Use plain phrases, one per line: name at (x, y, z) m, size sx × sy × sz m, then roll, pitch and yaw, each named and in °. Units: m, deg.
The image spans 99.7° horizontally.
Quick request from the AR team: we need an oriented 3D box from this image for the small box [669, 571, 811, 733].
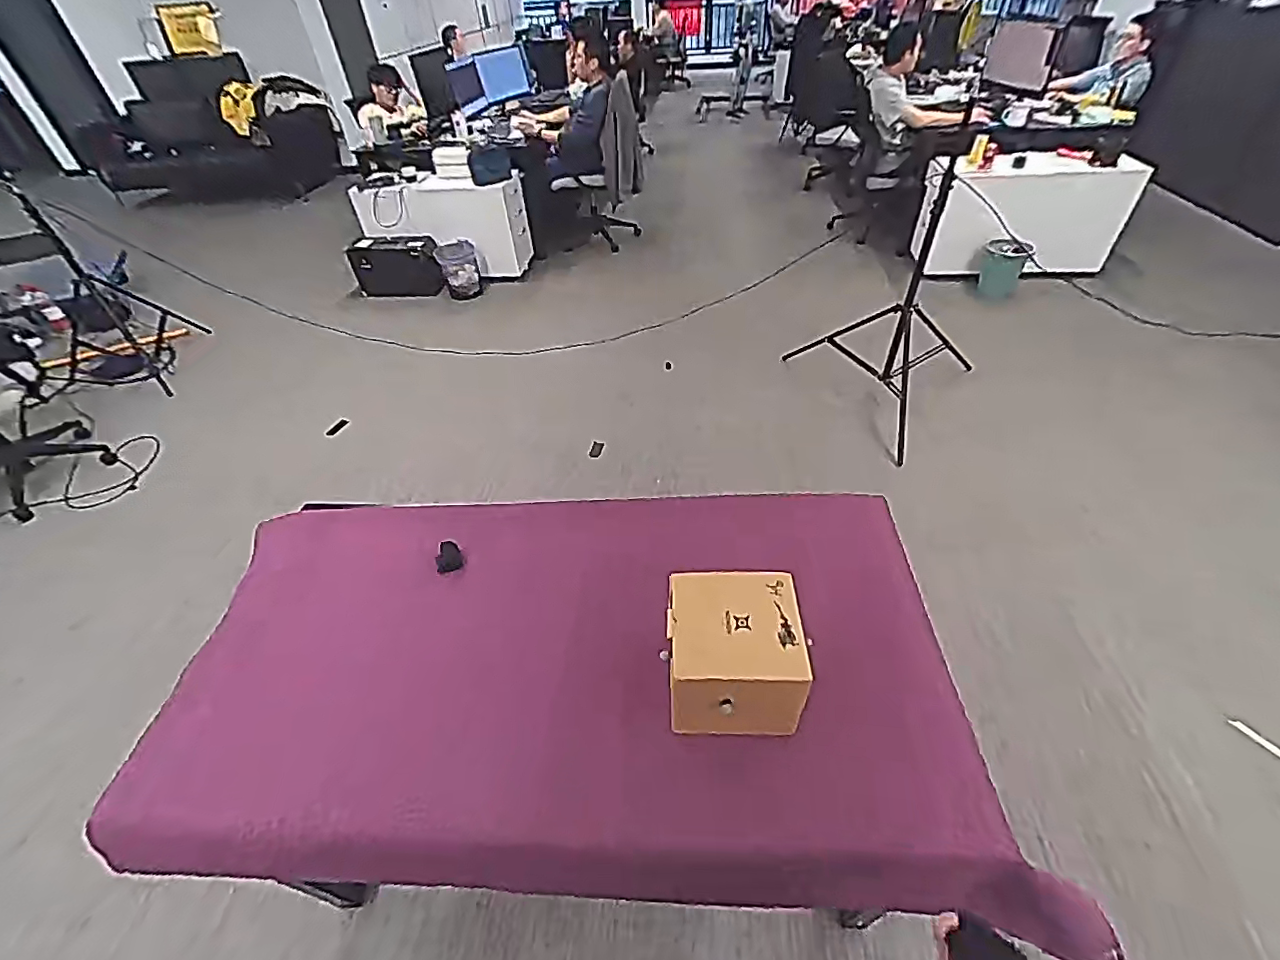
small box at (0.134, 0.248, 0.778) m, size 0.179 × 0.176 × 0.168 m, roll -2°, pitch 43°, yaw 4°
